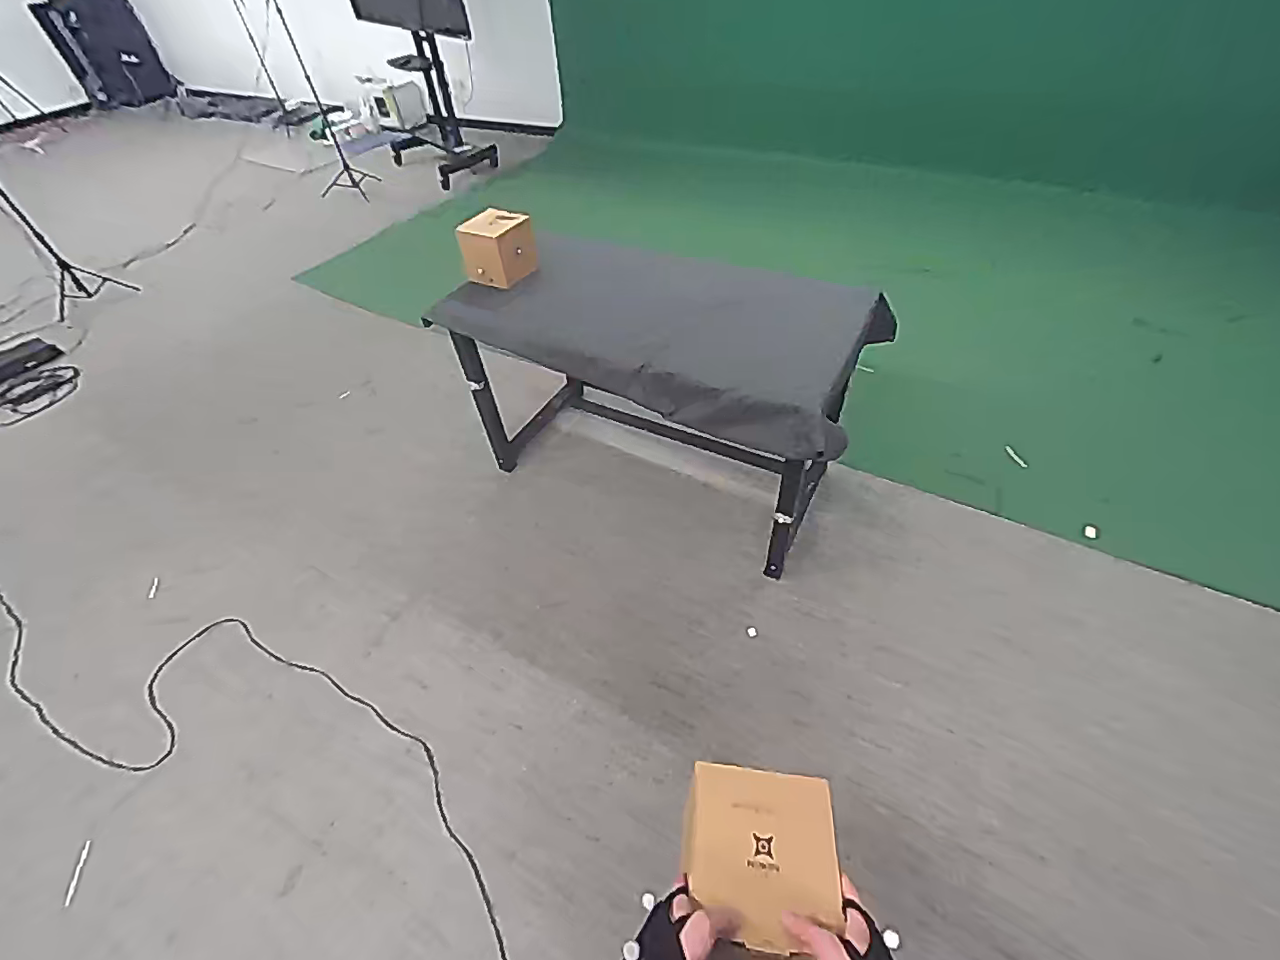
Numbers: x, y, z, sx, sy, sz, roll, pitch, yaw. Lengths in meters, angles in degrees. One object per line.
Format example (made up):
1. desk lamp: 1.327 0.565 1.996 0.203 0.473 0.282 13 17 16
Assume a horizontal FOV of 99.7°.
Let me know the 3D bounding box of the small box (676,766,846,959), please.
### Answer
1. small box: 0.135 0.486 0.664 0.168 0.176 0.179 6 39 3

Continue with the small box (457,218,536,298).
1. small box: -0.450 -0.712 1.735 0.168 0.176 0.179 20 52 21
